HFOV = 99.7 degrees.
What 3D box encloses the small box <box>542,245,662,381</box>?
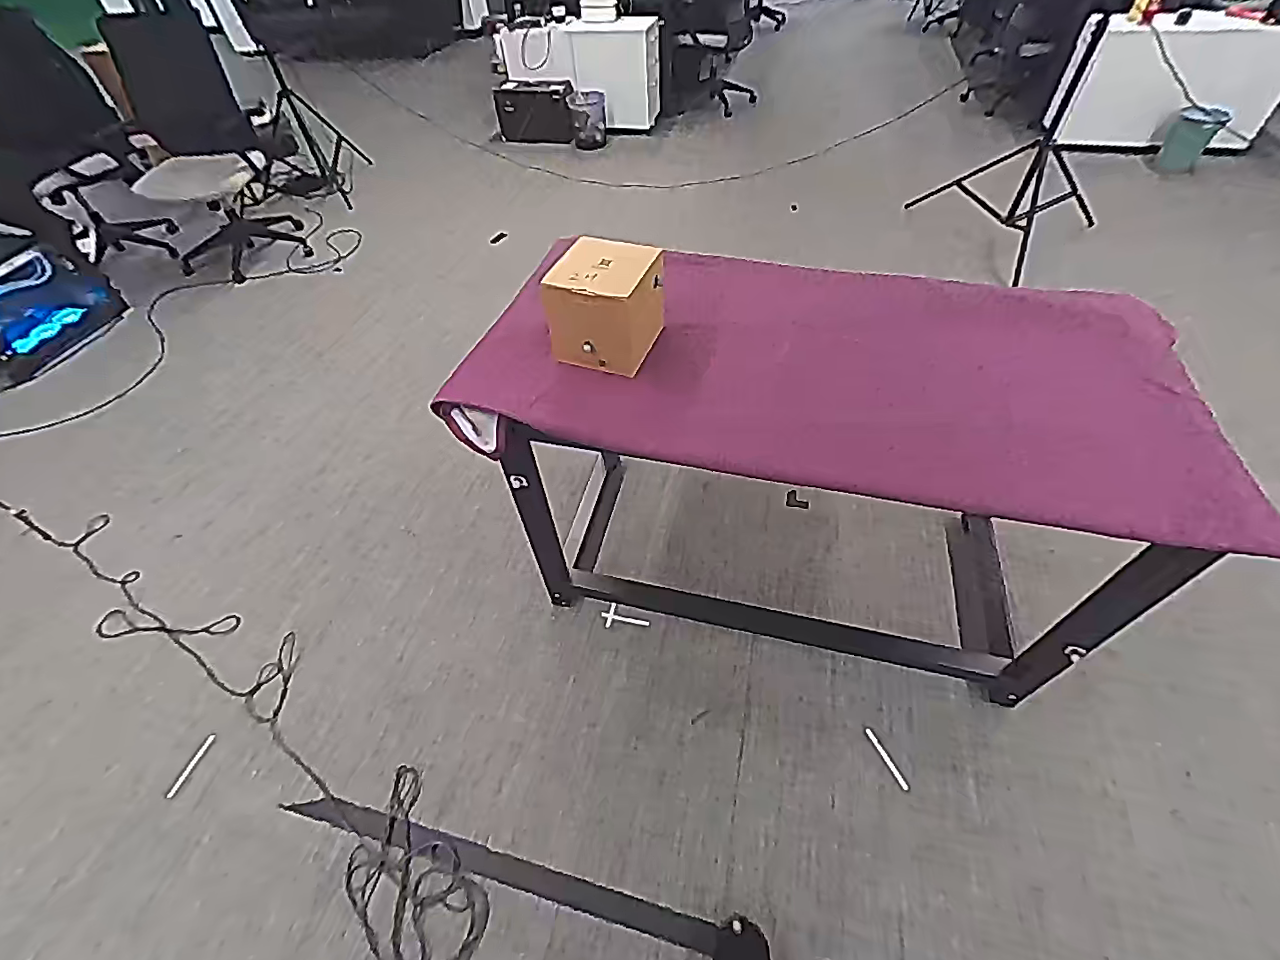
[{"bbox_3d":[-0.063,-0.316,1.025,0.168,0.176,0.179,15,52,16],"label":"small box"}]
